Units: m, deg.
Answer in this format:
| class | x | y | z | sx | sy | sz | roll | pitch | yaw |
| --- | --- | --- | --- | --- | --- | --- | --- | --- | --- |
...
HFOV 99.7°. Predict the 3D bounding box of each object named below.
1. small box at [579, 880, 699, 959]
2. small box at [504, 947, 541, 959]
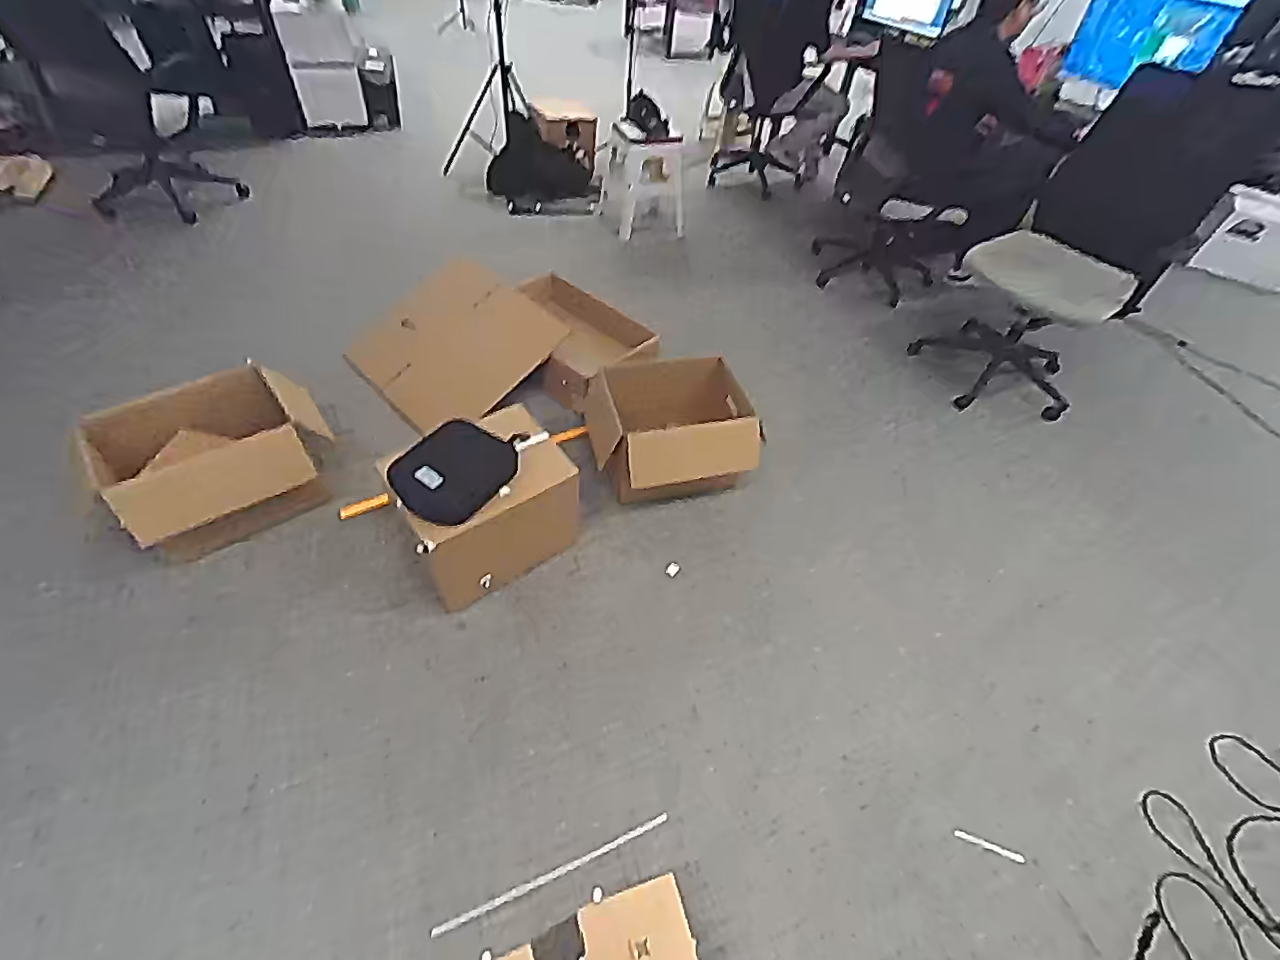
| class | x | y | z | sx | sy | sz | roll | pitch | yaw |
| --- | --- | --- | --- | --- | --- | --- | --- | --- | --- |
| small box | -0.003 | 0.819 | 0.930 | 0.179 | 0.176 | 0.168 | -12 | 51 | -14 |
| small box | -0.228 | 0.880 | 0.852 | 0.179 | 0.176 | 0.168 | -15 | 51 | -19 |
